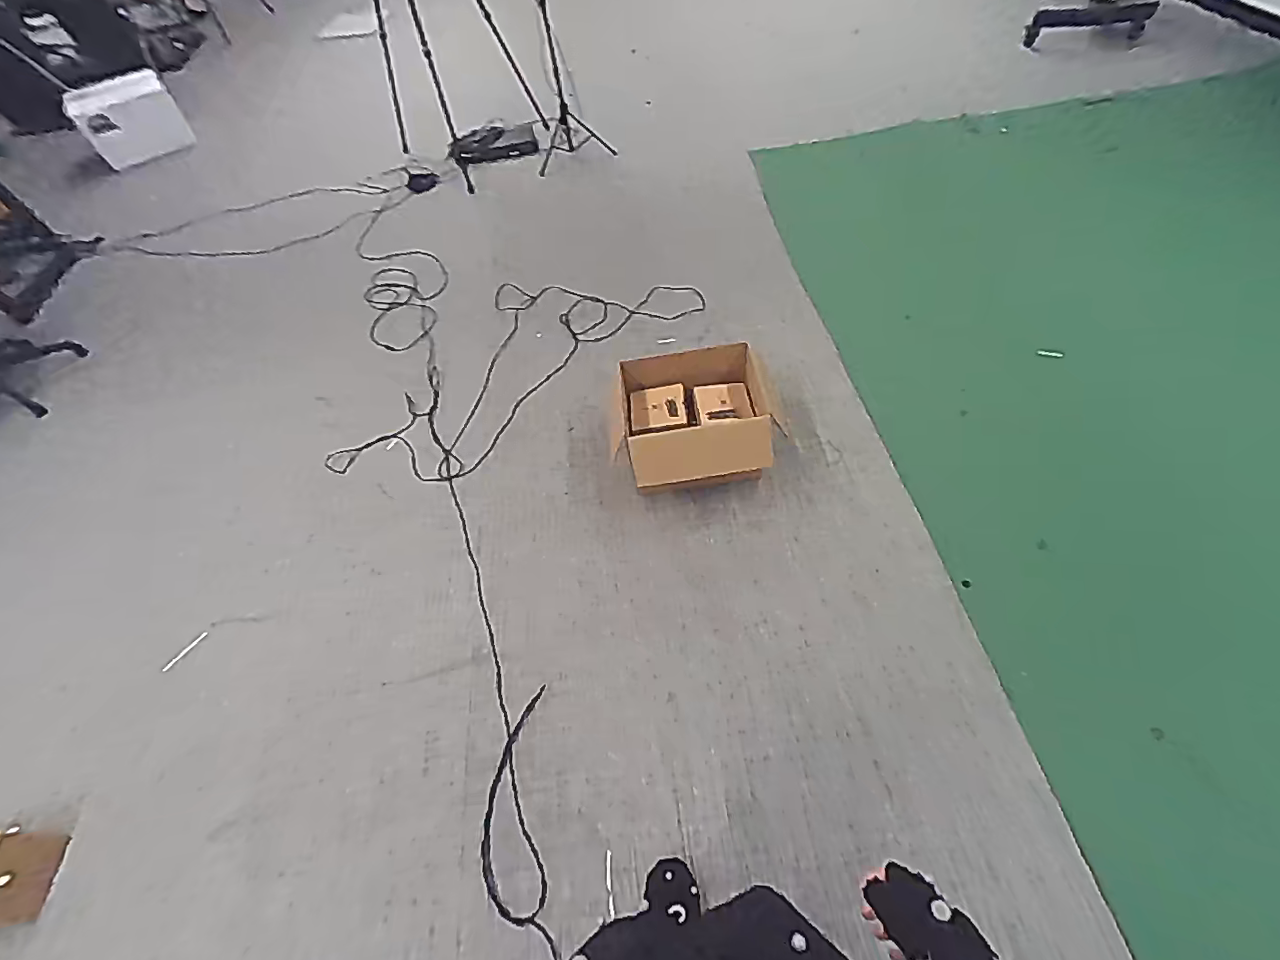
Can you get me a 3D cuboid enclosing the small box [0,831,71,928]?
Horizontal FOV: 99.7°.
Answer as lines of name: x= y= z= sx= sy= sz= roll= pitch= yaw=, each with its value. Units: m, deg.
small box: x=-1.483 y=0.923 z=1.238 sx=0.168 sy=0.176 sz=0.179 roll=-10 pitch=56 yaw=0
